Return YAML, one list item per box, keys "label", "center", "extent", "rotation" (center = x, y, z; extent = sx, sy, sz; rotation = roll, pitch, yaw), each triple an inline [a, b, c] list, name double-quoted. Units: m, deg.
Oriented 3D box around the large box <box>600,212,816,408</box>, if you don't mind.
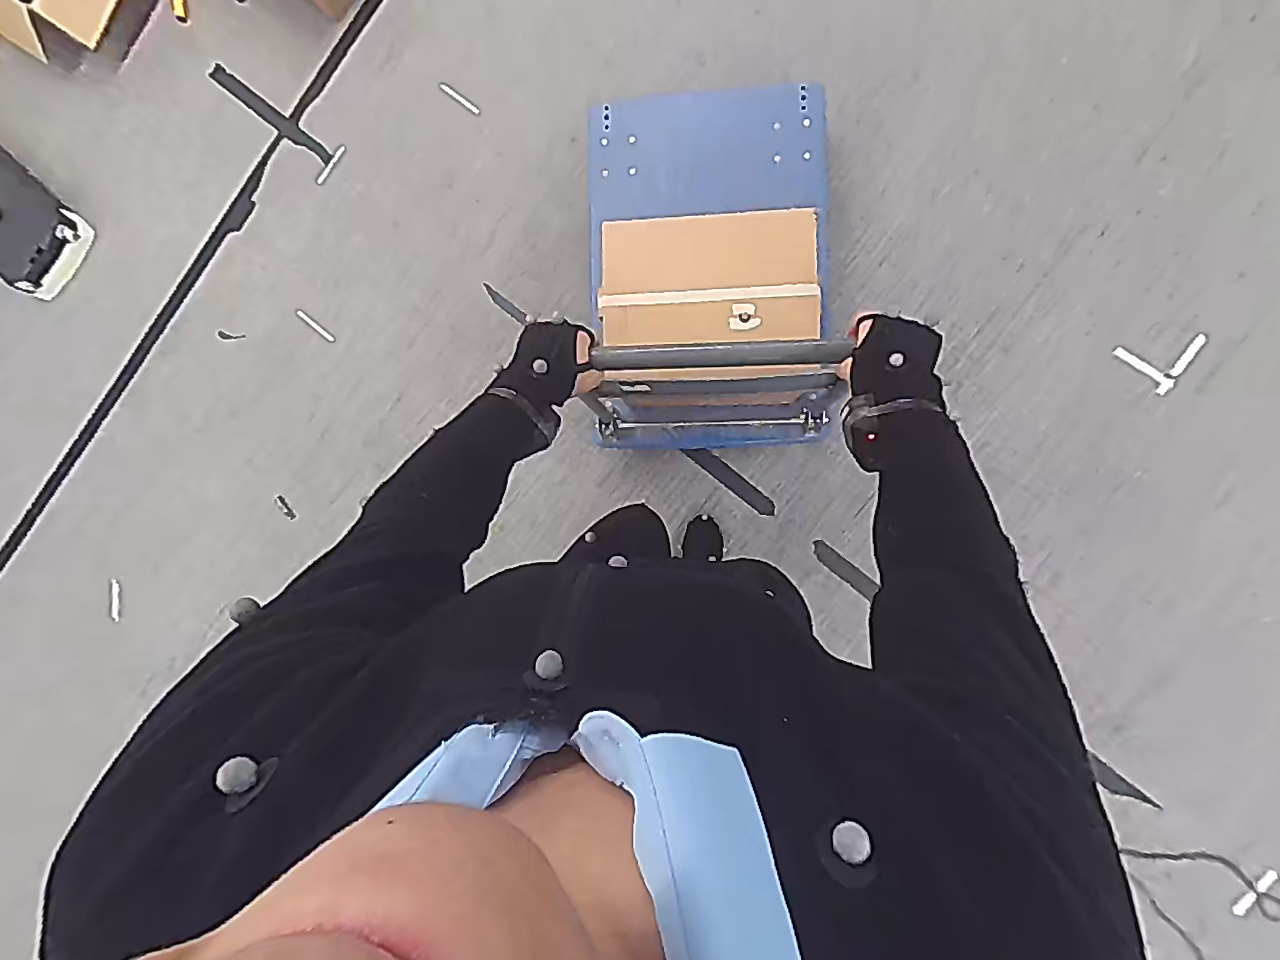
- label: "large box"
  center: [0.136, -0.338, 1.169]
  extent: [0.408, 0.320, 0.320]
  rotation: [-1, 89, 5]
